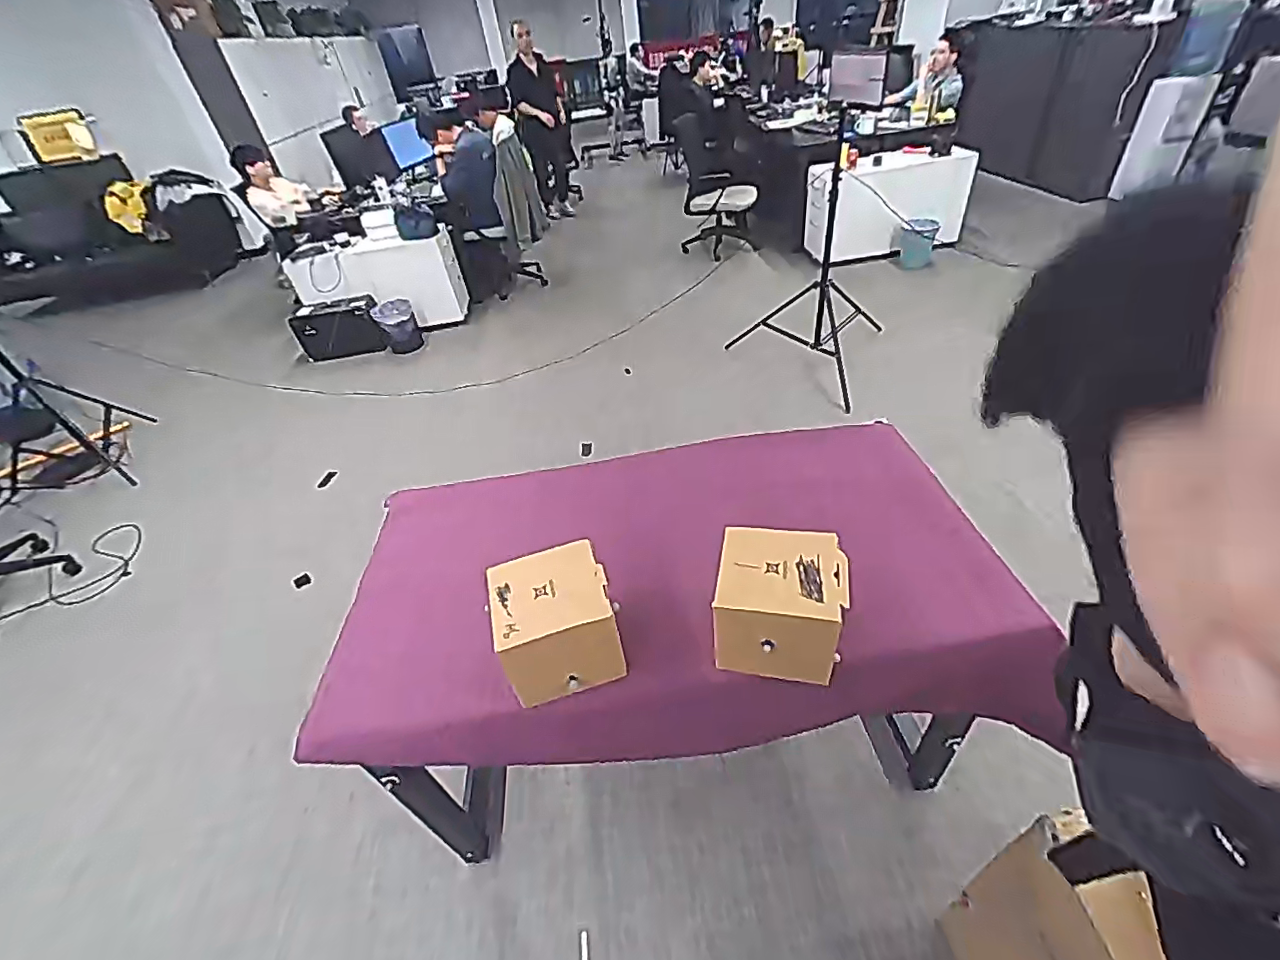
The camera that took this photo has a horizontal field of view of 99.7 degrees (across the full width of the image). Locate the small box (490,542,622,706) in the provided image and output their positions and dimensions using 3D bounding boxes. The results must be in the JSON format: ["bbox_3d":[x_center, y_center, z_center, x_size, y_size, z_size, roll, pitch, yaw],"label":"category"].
[{"bbox_3d":[-0.133,0.234,0.882,0.179,0.176,0.168,-15,39,-9],"label":"small box"}]

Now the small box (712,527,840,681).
[{"bbox_3d":[0.216,0.198,0.862,0.179,0.176,0.168,3,40,15],"label":"small box"}]

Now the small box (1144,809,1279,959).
[{"bbox_3d":[0.724,0.484,0.590,0.168,0.176,0.179,-12,41,0],"label":"small box"}]
